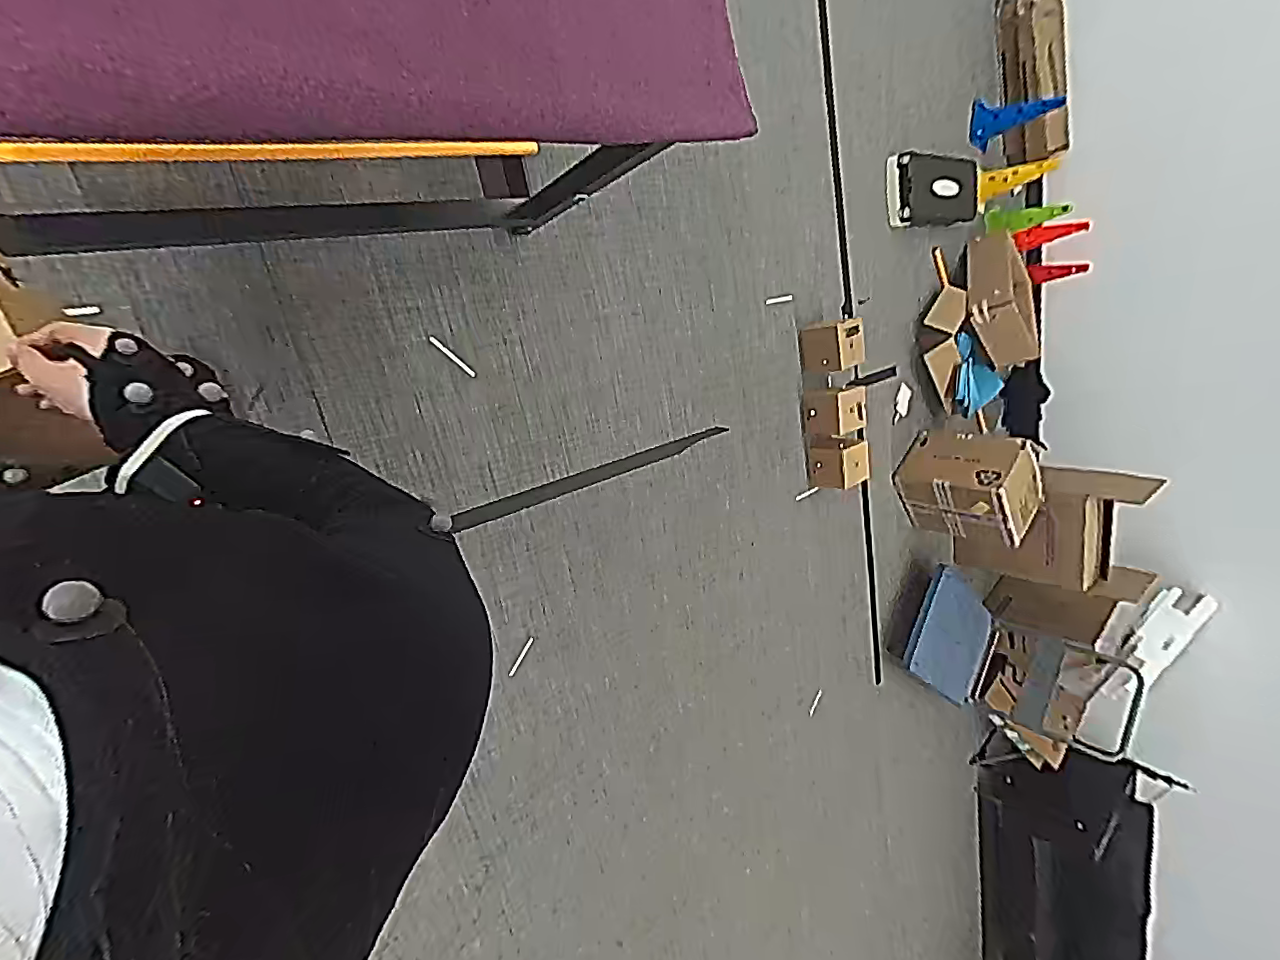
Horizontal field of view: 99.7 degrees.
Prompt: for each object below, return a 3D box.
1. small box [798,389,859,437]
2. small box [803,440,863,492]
[{"bbox_3d":[0.766,-0.277,2.198,0.179,0.176,0.168,-18,108,-33],"label":"small box"},{"bbox_3d":[0.808,-0.064,2.266,0.179,0.176,0.168,-21,109,-33],"label":"small box"}]
